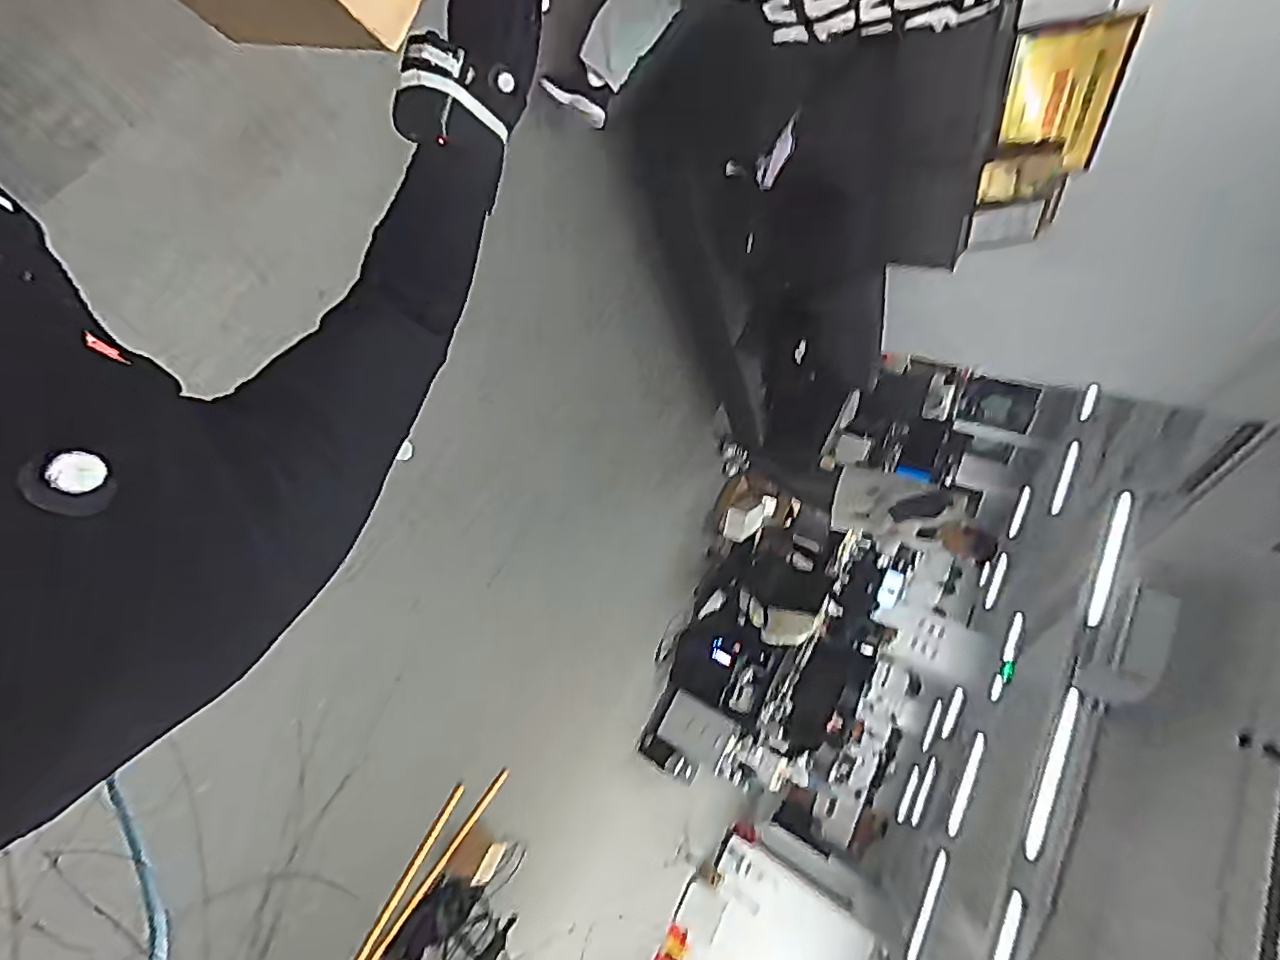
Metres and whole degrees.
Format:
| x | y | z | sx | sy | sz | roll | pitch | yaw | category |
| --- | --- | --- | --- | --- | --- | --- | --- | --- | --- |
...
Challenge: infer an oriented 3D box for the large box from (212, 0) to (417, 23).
| x | y | z | sx | sy | sz | roll | pitch | yaw | category |
| --- | --- | --- | --- | --- | --- | --- | --- | --- | --- |
| -0.310 | -0.547 | 0.271 | 0.408 | 0.320 | 0.320 | 18 | 102 | -60 | large box |
